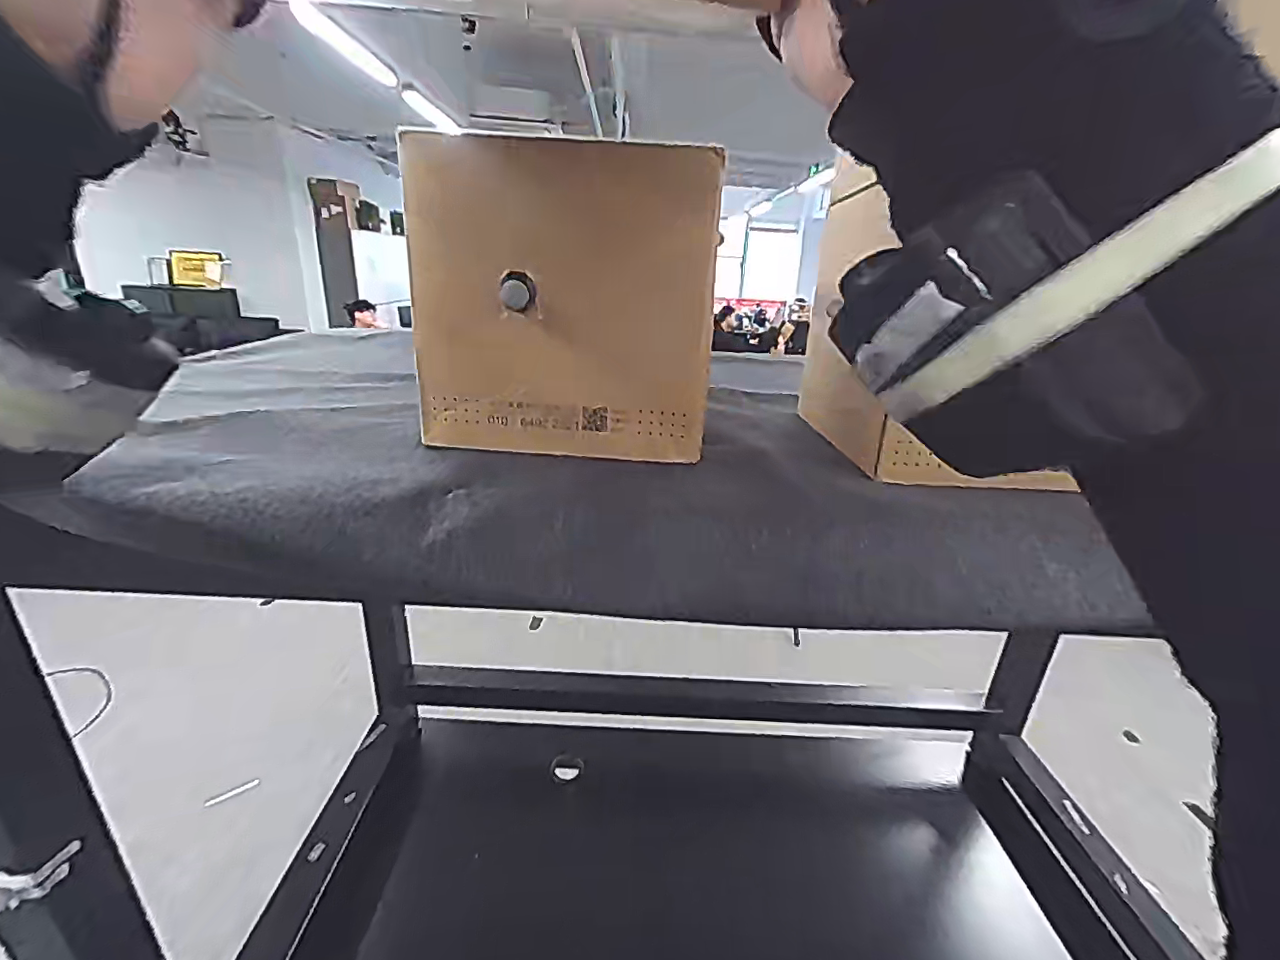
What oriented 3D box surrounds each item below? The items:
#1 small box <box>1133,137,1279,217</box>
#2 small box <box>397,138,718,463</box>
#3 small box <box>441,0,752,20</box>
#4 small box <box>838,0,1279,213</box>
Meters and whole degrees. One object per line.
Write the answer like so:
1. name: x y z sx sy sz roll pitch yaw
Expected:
1. small box: 0.450 -0.242 0.304 0.168 0.176 0.179 4 21 1
2. small box: -0.040 -0.116 0.372 0.168 0.176 0.179 4 19 1
3. small box: -0.037 -0.251 0.158 0.168 0.176 0.179 2 39 -7
4. small box: 0.231 -0.255 0.314 0.168 0.176 0.179 1 20 -1
